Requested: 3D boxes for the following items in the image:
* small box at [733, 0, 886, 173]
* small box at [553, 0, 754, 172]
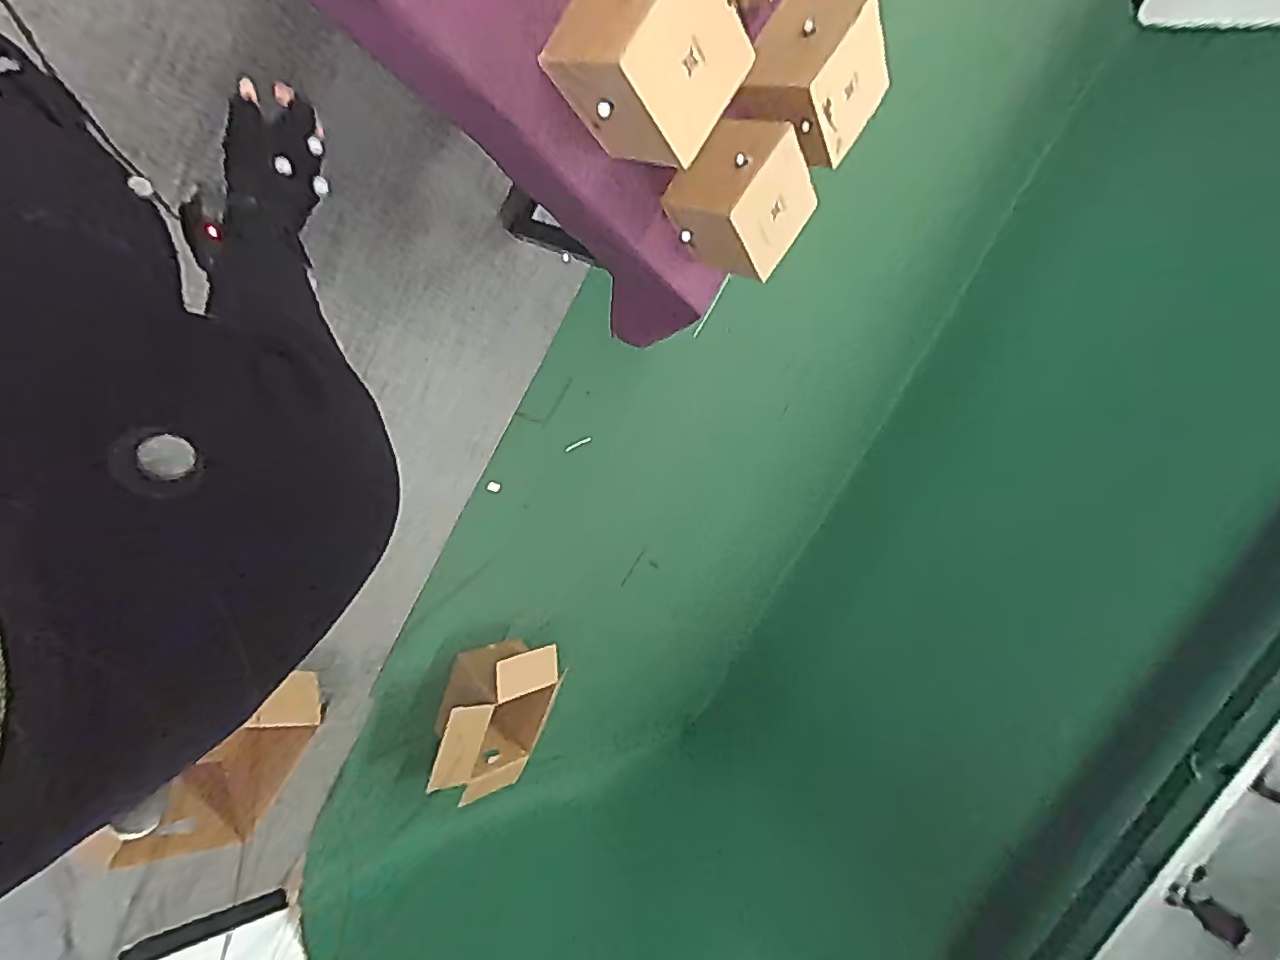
[{"bbox_3d":[0.287,-0.668,0.923,0.179,0.176,0.168,-57,143,1],"label":"small box"},{"bbox_3d":[0.012,-0.546,0.709,0.179,0.176,0.168,-57,144,3],"label":"small box"}]
